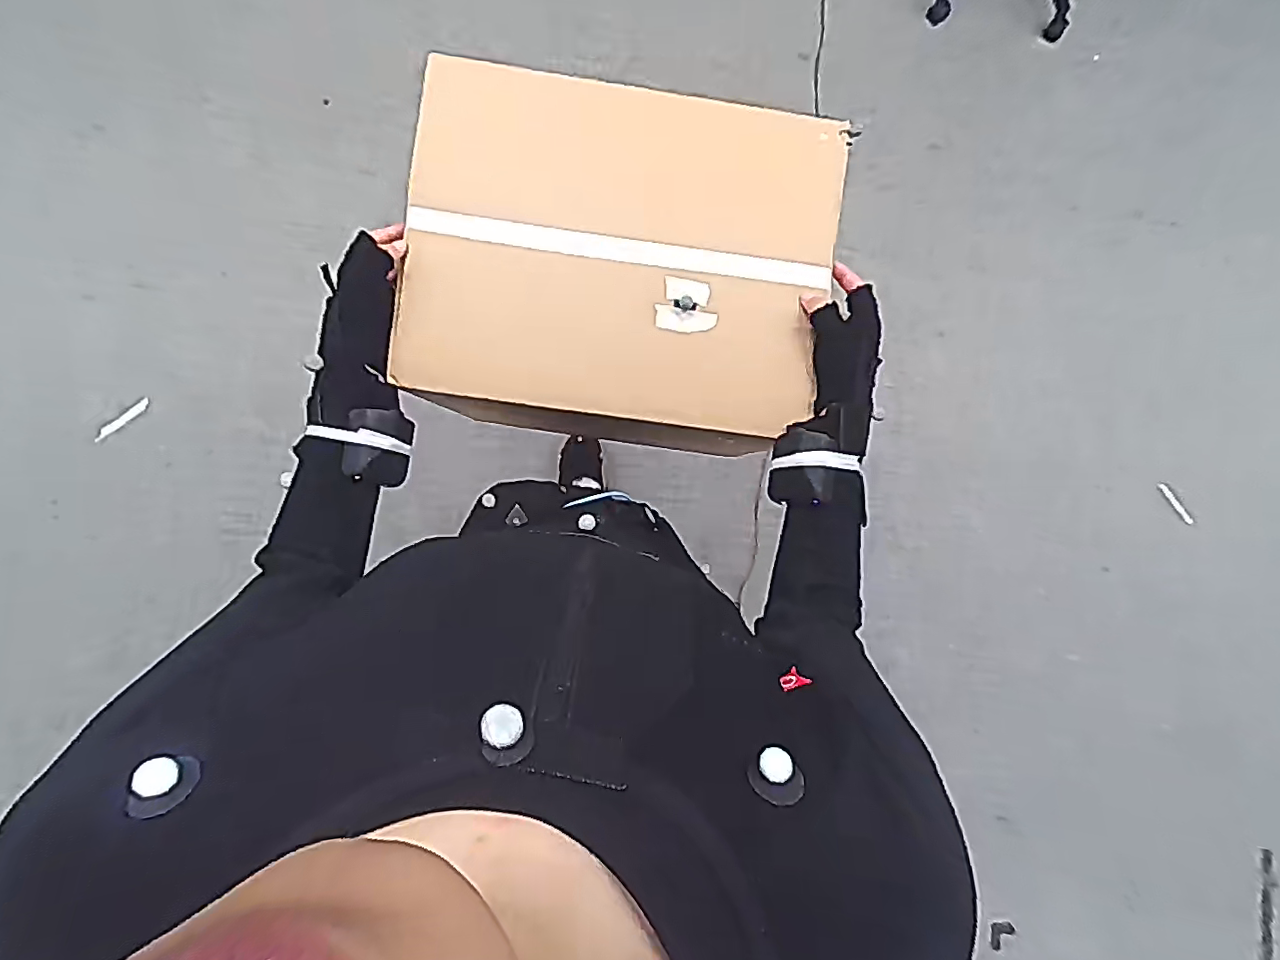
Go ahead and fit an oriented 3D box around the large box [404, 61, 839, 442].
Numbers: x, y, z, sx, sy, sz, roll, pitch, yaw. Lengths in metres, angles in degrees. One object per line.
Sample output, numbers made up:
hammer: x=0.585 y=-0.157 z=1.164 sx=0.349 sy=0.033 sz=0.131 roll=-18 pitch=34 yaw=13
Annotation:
large box: x=-0.023 y=-0.231 z=0.677 sx=0.408 sy=0.320 sz=0.320 roll=8 pitch=91 yaw=-3
